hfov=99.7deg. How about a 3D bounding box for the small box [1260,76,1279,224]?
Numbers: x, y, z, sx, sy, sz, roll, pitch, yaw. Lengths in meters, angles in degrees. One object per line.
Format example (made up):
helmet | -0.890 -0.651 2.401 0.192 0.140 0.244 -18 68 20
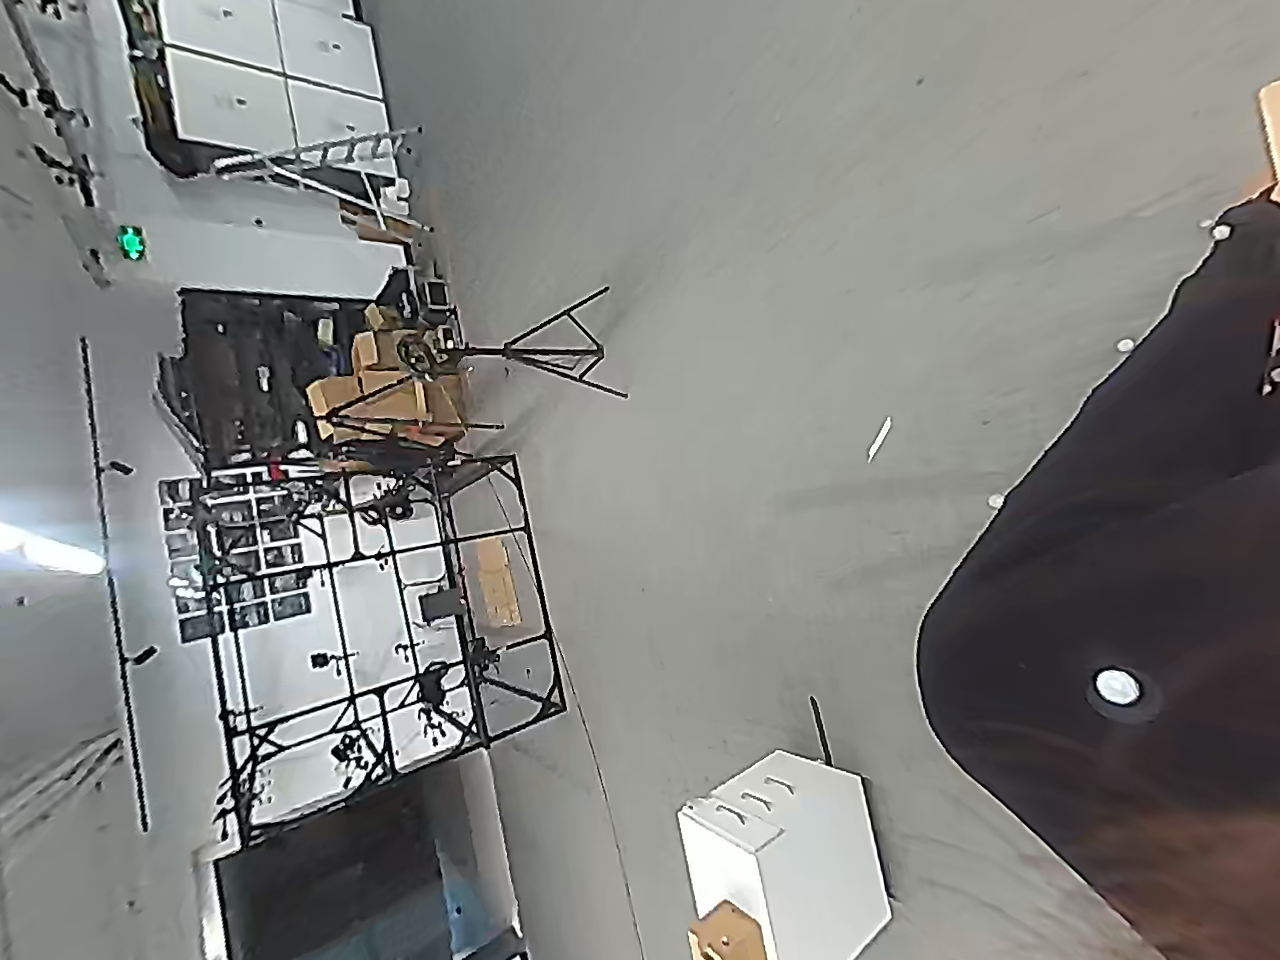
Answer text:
small box | 0.739 -0.331 0.516 0.179 0.176 0.168 -10 91 53
